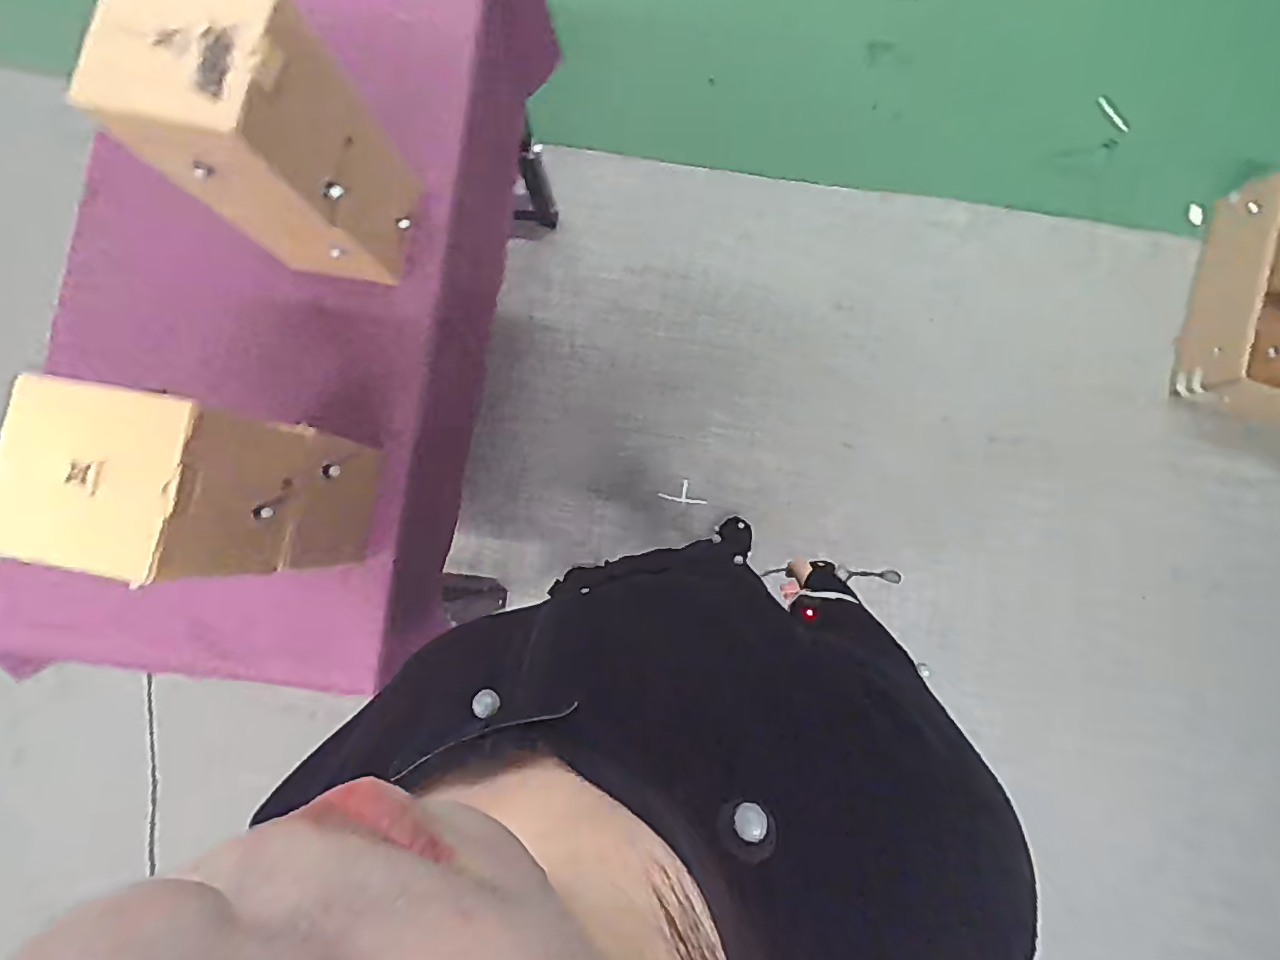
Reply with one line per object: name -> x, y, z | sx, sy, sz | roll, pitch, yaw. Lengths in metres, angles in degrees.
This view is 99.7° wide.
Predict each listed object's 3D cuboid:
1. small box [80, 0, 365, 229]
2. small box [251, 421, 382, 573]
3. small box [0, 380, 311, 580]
small box -> -0.451, -0.414, 0.616 | 0.179, 0.176, 0.168 | 11, 85, 4
small box -> -0.481, 0.023, 0.737 | 0.168, 0.176, 0.179 | 9, 84, 4
small box -> -0.499, 0.007, 0.576 | 0.179, 0.176, 0.168 | 9, 84, 3
